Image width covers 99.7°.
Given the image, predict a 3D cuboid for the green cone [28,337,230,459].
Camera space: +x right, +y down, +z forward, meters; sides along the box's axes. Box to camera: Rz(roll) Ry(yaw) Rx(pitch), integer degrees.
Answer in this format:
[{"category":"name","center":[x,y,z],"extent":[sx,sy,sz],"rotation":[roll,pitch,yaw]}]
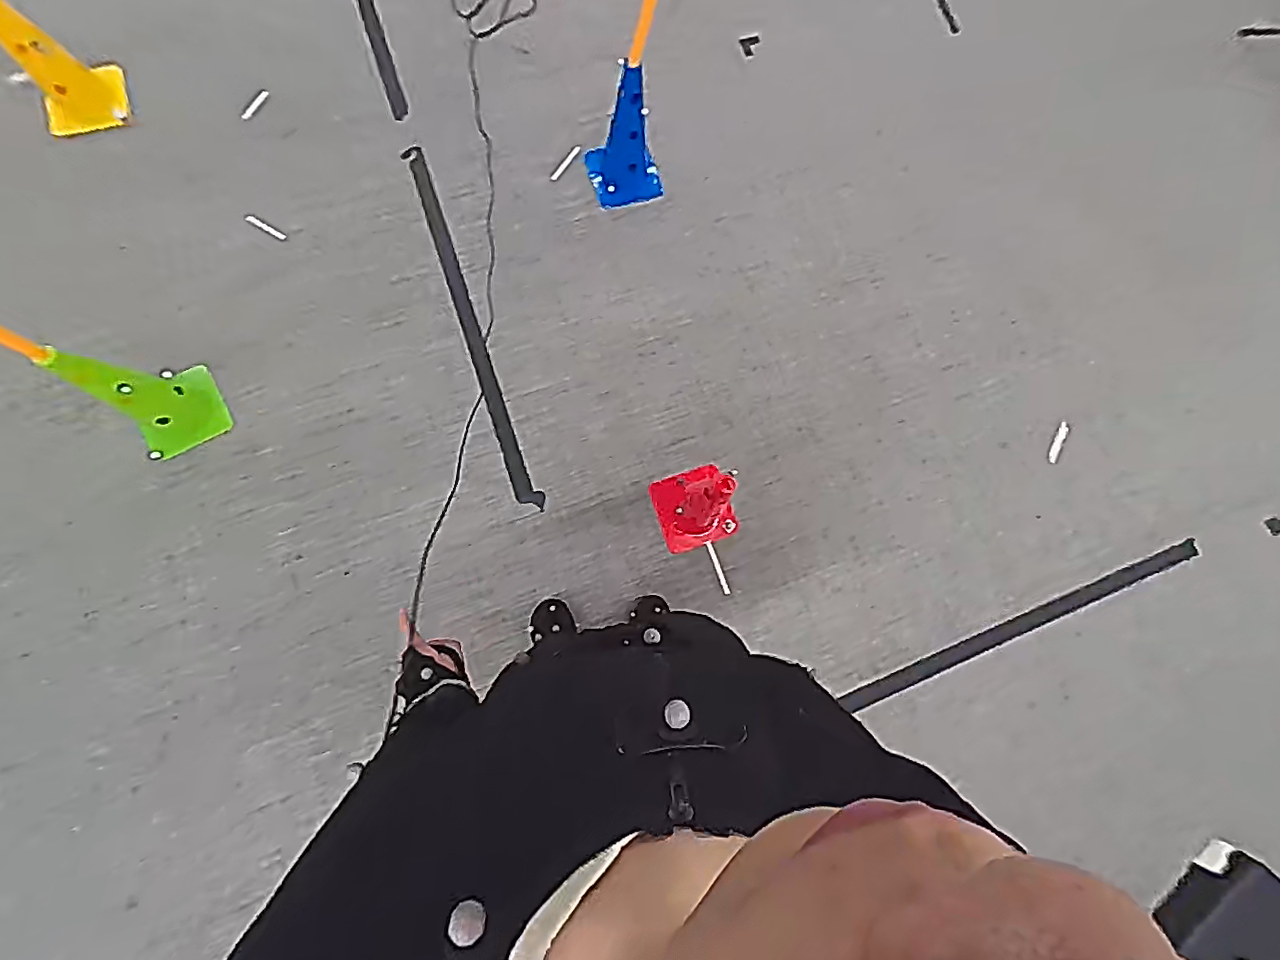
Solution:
[{"category":"green cone","center":[-1.153,-0.213,1.205],"extent":[0.200,0.368,0.202],"rotation":[-30,81,-10]}]

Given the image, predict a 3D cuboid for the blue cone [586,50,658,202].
[{"category":"blue cone","center":[-0.038,-0.957,1.458],"extent":[0.193,0.380,0.192],"rotation":[-16,80,-8]}]
